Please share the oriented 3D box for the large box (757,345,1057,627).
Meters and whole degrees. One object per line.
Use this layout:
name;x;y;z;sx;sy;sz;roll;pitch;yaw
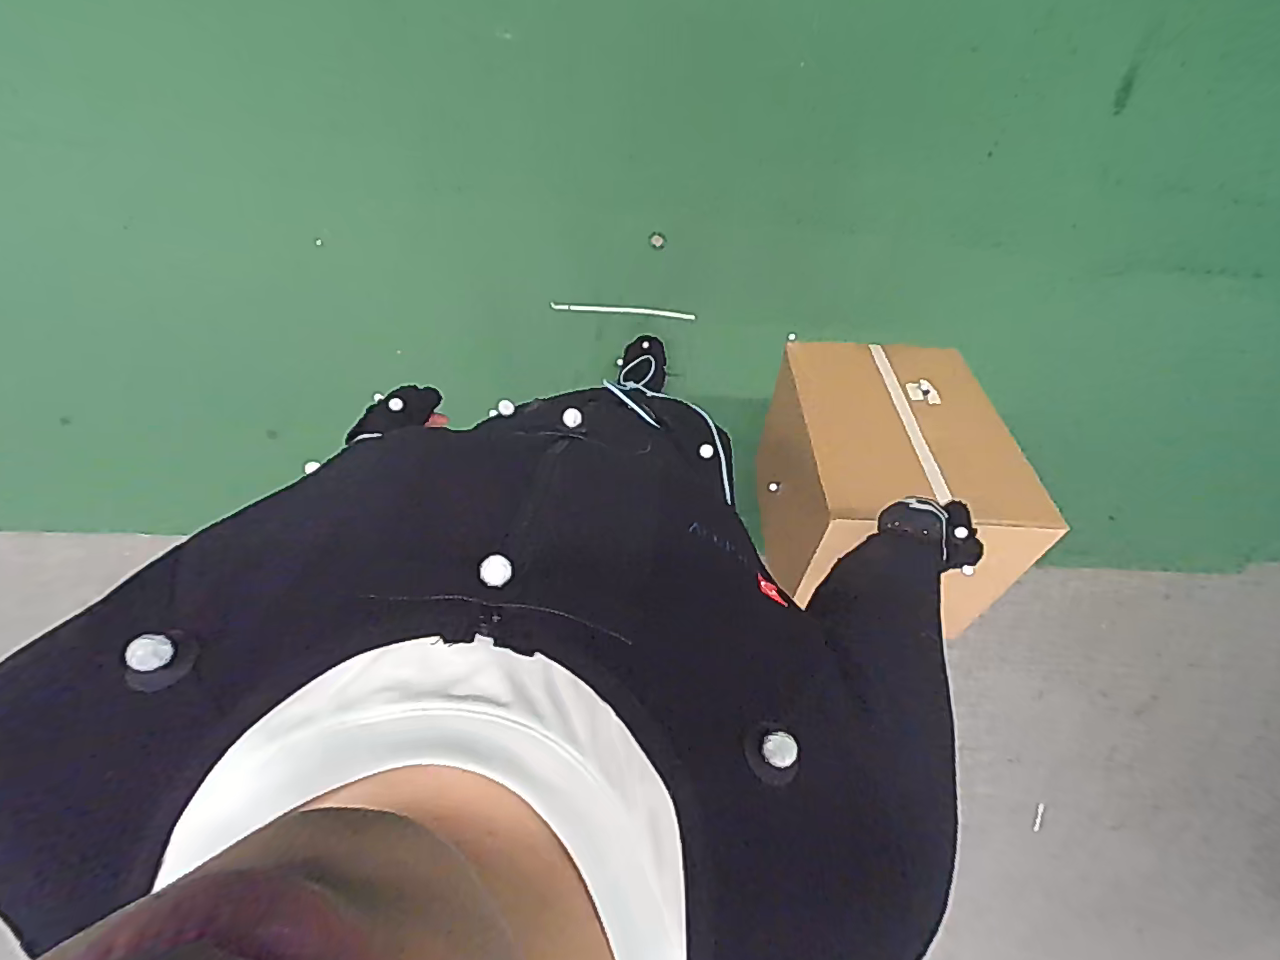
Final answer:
large box;0.407;0.009;0.959;0.320;0.408;0.320;3;137;-1
